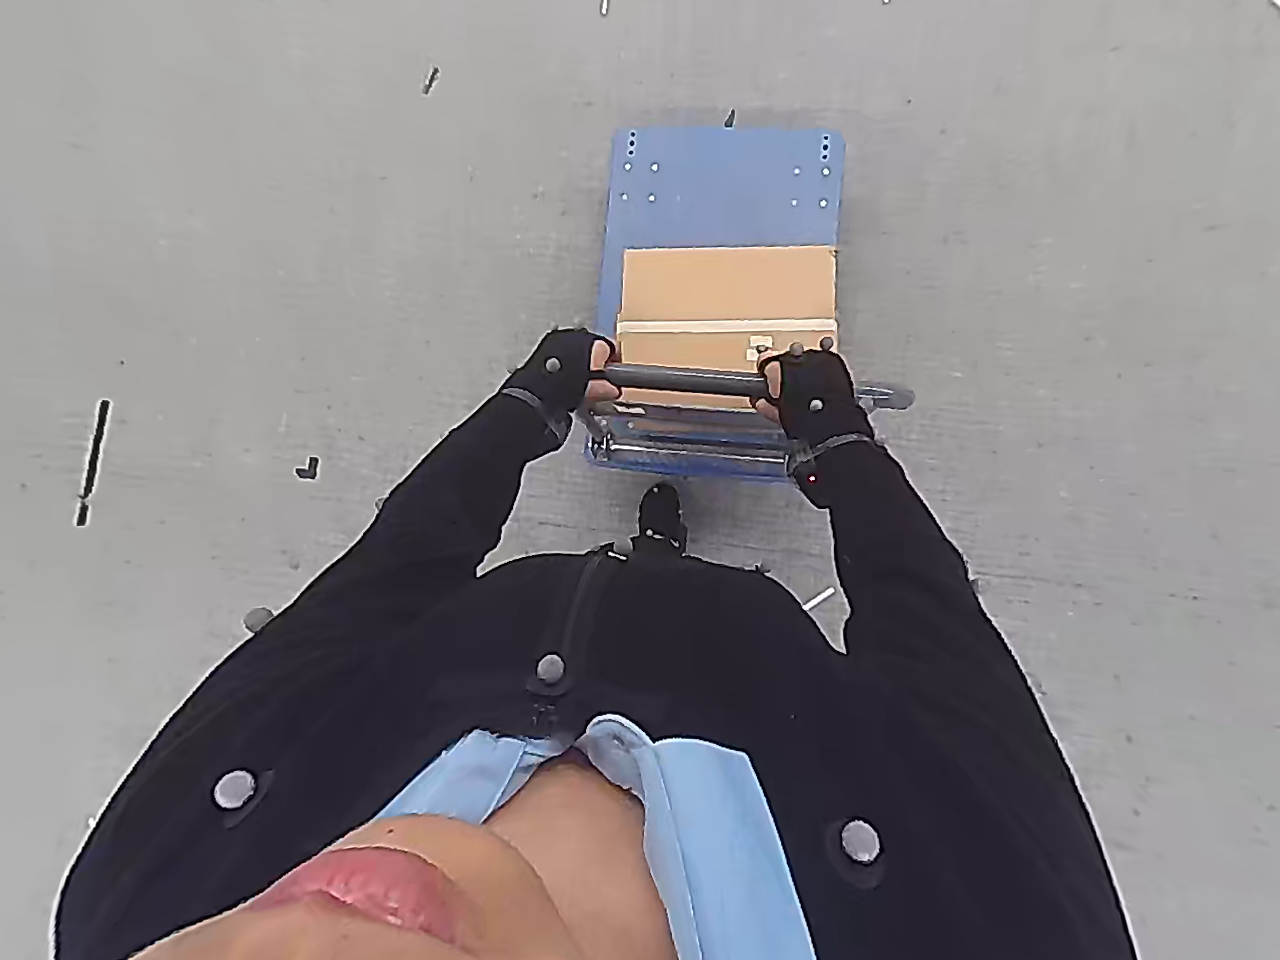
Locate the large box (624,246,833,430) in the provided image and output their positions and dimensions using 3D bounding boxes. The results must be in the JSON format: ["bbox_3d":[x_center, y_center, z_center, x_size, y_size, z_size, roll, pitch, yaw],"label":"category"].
[{"bbox_3d":[0.178,-0.287,1.190,0.408,0.320,0.320,1,87,5],"label":"large box"}]
